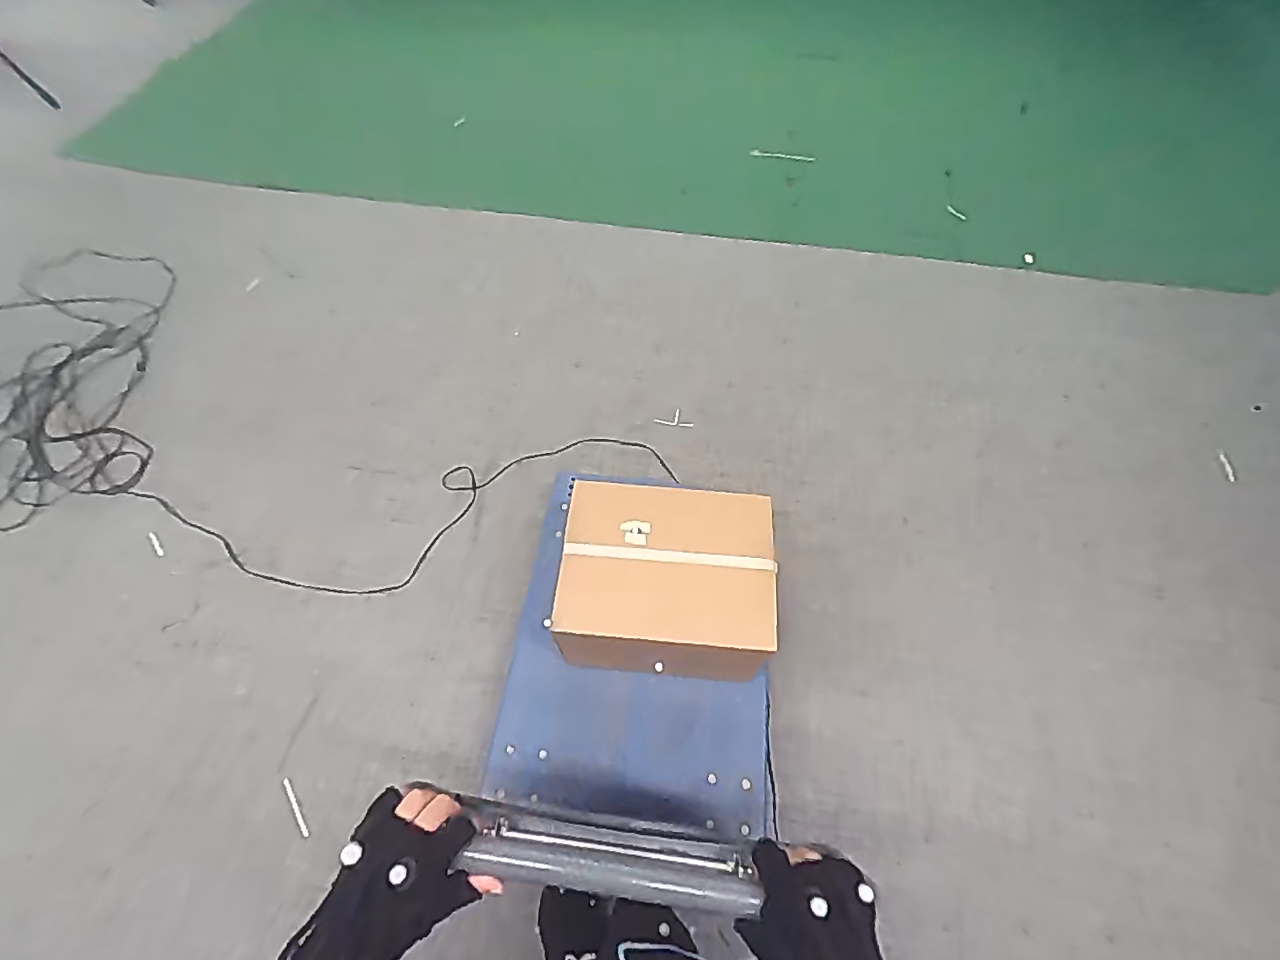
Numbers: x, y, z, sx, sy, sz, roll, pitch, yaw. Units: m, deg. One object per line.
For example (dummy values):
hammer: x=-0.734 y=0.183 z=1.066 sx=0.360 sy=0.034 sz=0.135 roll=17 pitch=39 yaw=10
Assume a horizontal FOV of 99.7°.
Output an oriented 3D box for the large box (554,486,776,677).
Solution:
large box: x=0.056 y=0.229 z=1.164 sx=0.408 sy=0.320 sz=0.320 roll=4 pitch=59 yaw=2
